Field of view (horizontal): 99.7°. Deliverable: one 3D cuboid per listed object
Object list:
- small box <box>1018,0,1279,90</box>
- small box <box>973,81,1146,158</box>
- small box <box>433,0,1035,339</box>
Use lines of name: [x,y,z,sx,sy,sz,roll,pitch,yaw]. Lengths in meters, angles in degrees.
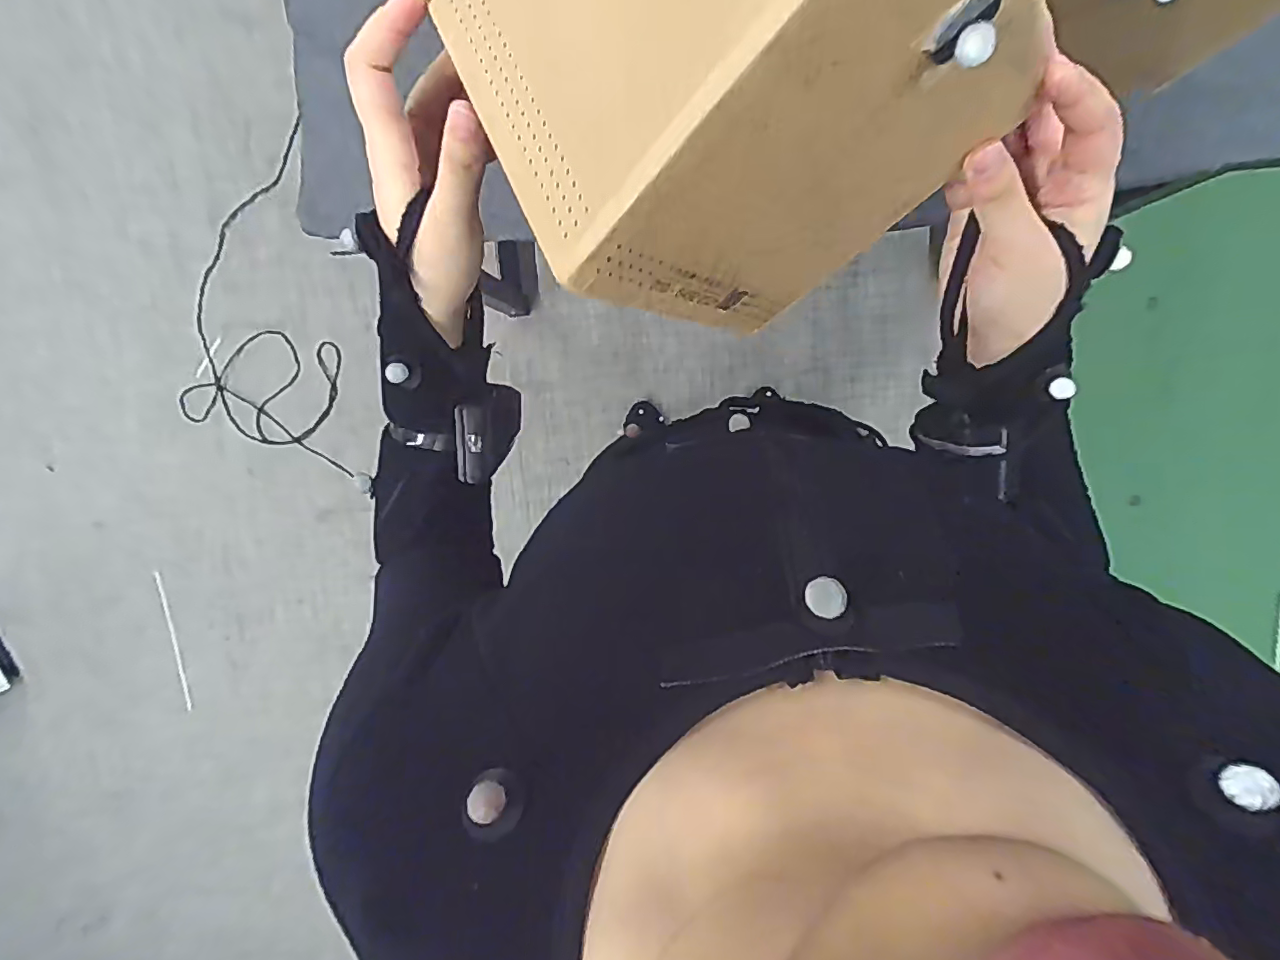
small box: [0.390,-0.432,0.408,0.179,0.176,0.168,9,98,5]
small box: [0.404,-0.468,0.567,0.168,0.176,0.179,-2,98,6]
small box: [0.034,-0.192,0.246,0.176,0.168,0.179,-36,73,38]
